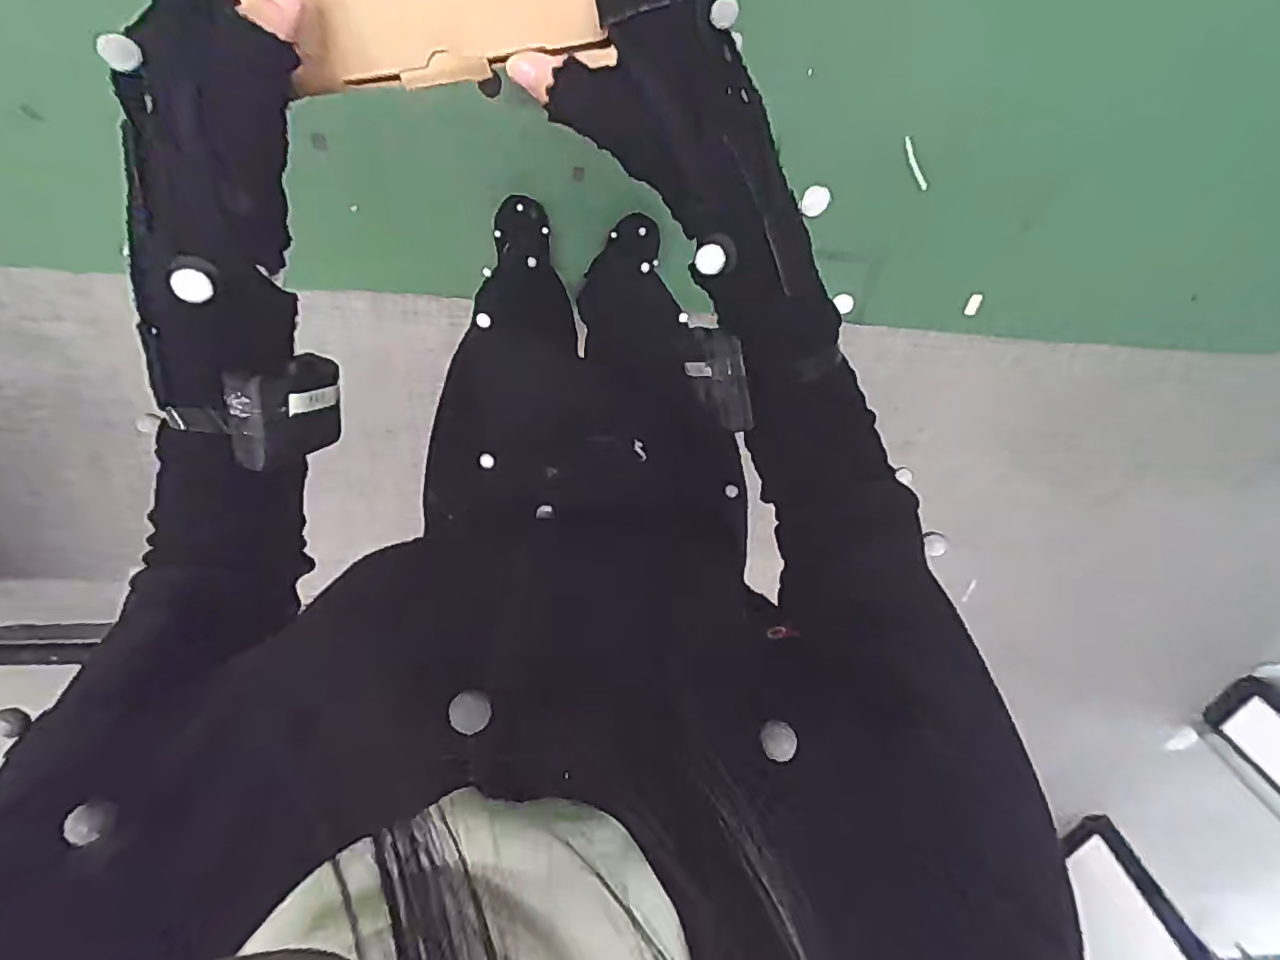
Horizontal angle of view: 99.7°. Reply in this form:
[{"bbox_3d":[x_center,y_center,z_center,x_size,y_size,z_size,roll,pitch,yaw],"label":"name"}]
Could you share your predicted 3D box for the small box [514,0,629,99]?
[{"bbox_3d":[-0.111,-0.752,0.893,0.168,0.176,0.179,6,123,-11],"label":"small box"}]
